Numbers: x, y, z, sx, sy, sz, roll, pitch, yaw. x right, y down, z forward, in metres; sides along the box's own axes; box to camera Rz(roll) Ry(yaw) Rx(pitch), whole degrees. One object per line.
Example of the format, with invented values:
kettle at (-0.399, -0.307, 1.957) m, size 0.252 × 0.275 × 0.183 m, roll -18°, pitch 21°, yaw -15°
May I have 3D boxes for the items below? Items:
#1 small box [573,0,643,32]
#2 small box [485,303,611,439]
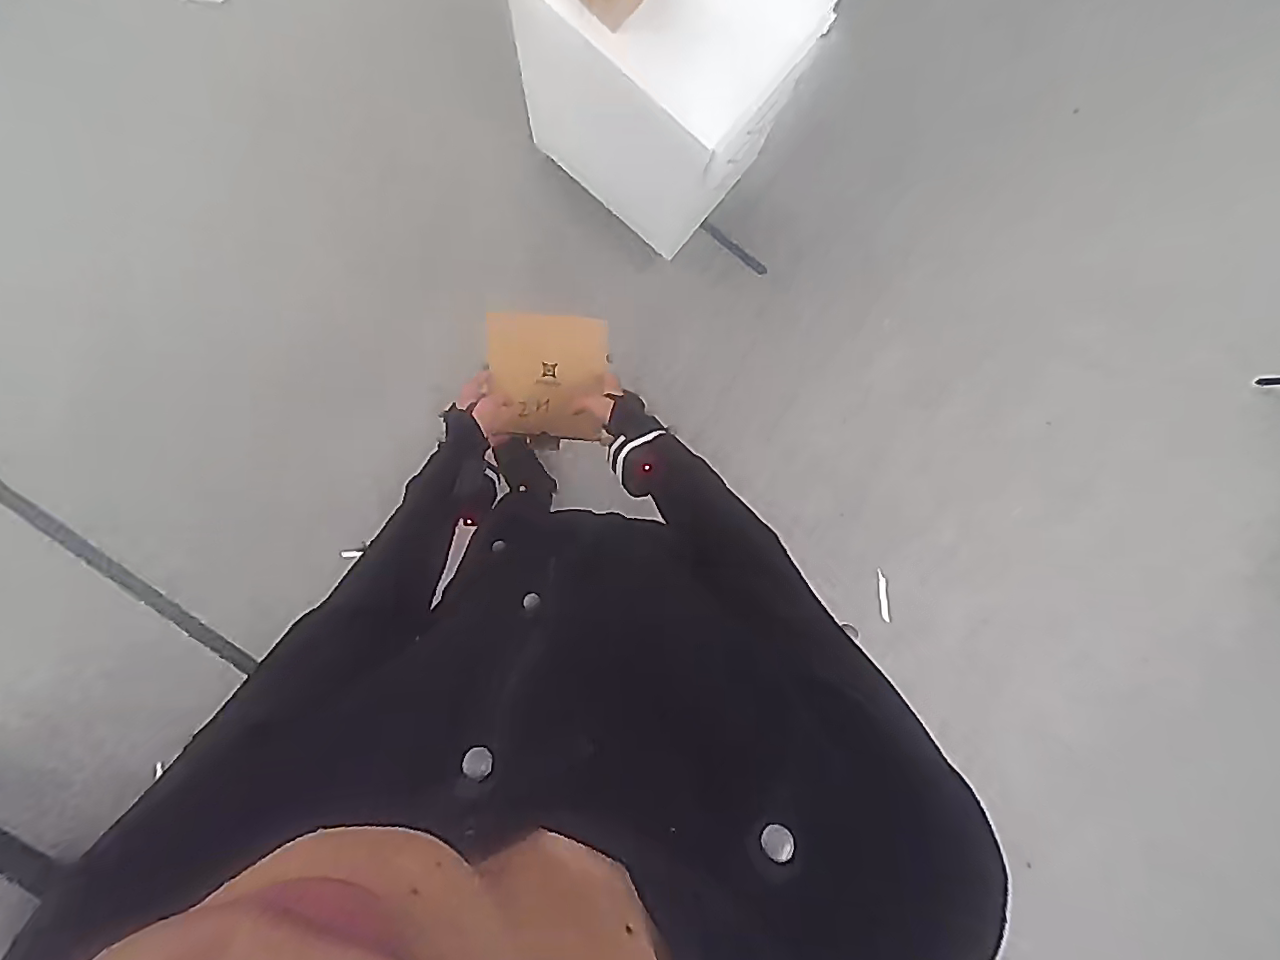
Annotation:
small box at (-0.051, -0.938, 0.917) m, size 0.168 × 0.176 × 0.179 m, roll 40°, pitch 87°, yaw -5°
small box at (-0.144, -0.159, 0.846) m, size 0.168 × 0.176 × 0.179 m, roll 5°, pitch 94°, yaw -9°
